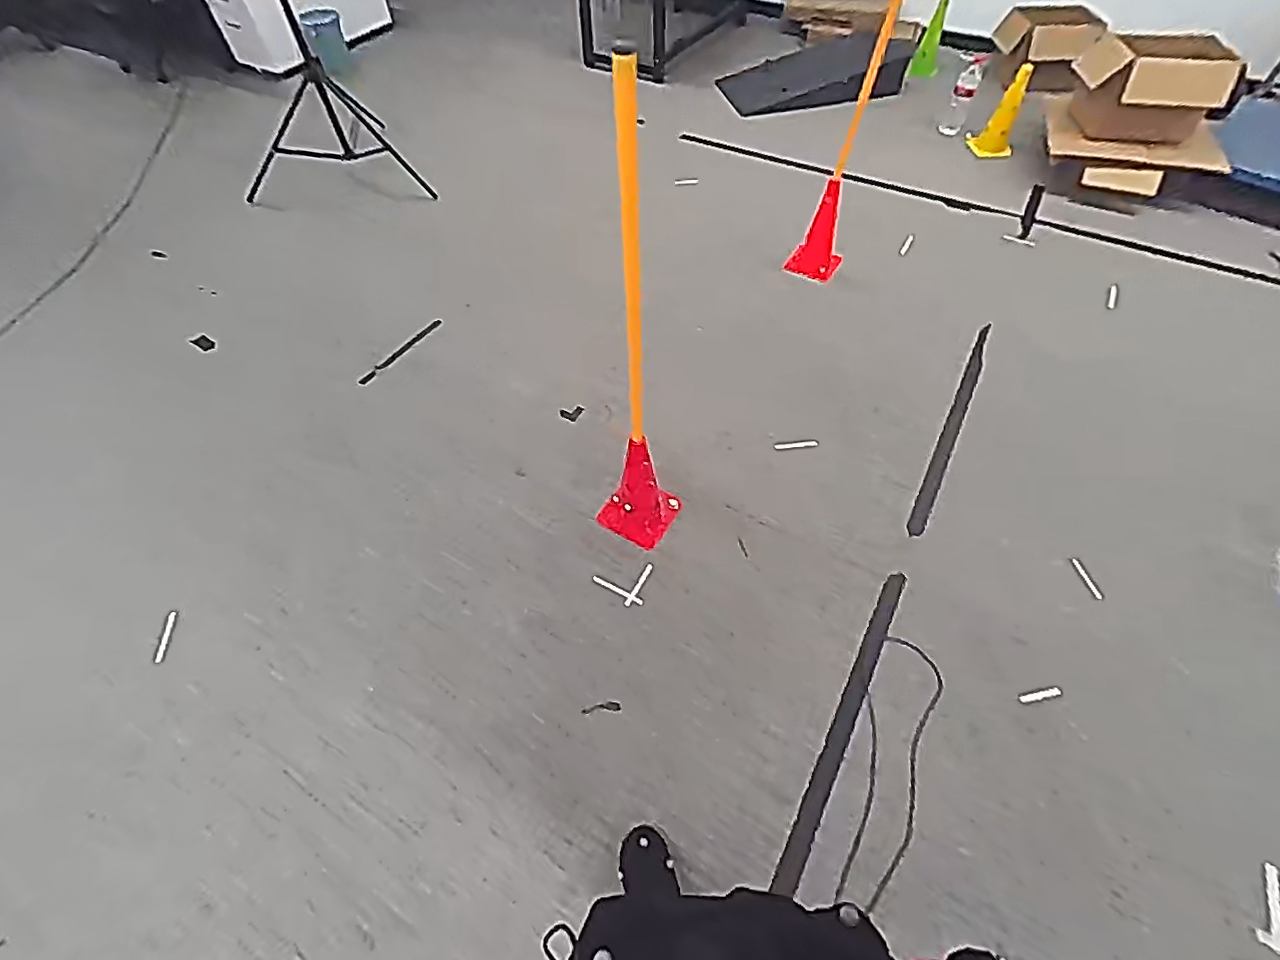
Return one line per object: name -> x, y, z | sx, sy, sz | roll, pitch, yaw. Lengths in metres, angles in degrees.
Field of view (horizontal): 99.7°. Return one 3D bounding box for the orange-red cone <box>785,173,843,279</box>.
orange-red cone -> 0.727, -1.017, 2.125 | 0.198, 0.360, 0.199 | 29, 61, 19
